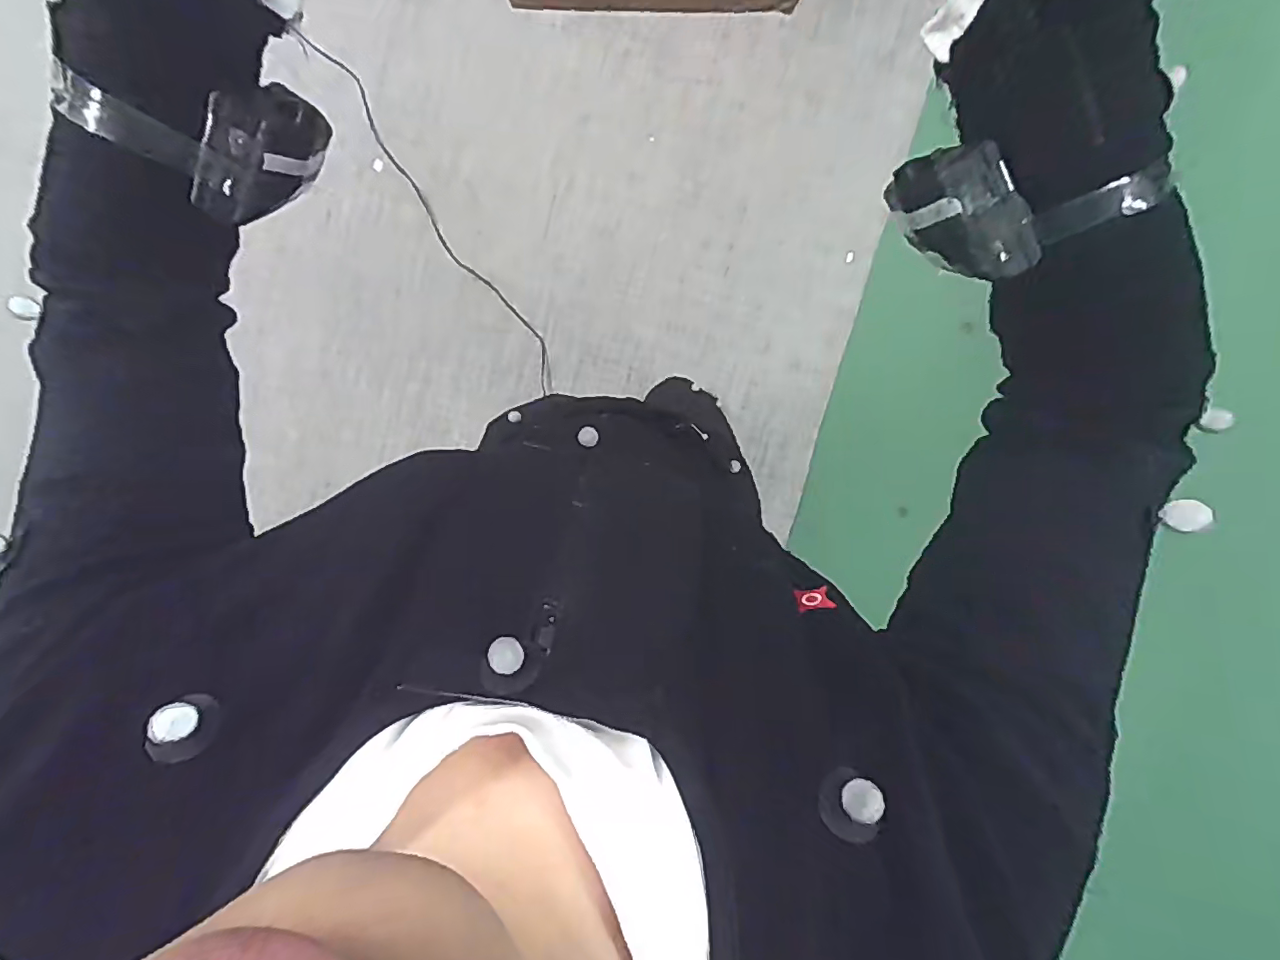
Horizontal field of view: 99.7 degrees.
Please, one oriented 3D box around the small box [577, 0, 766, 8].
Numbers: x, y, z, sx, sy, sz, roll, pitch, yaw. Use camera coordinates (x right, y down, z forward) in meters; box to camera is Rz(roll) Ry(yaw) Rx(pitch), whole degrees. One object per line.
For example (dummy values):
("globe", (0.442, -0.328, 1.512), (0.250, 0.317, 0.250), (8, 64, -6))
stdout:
("small box", (0.007, -0.360, 0.242), (0.179, 0.176, 0.168), (3, 97, 2))
